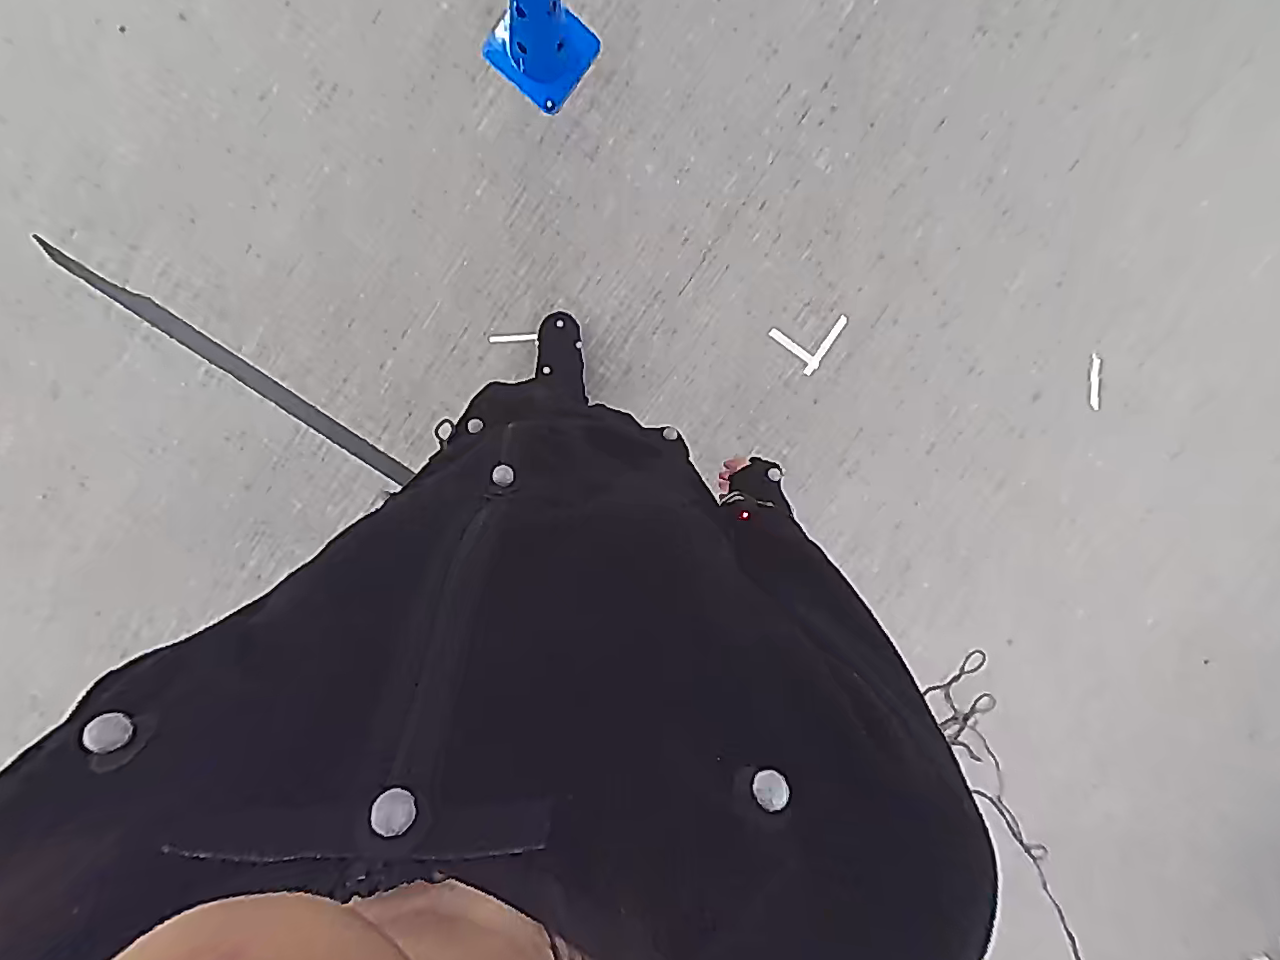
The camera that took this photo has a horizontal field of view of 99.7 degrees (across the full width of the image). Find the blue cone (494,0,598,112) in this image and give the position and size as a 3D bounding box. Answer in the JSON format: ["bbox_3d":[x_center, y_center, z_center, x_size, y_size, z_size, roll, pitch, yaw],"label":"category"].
[{"bbox_3d":[-0.194,-0.928,1.047,0.192,0.380,0.193,39,95,-12],"label":"blue cone"}]
